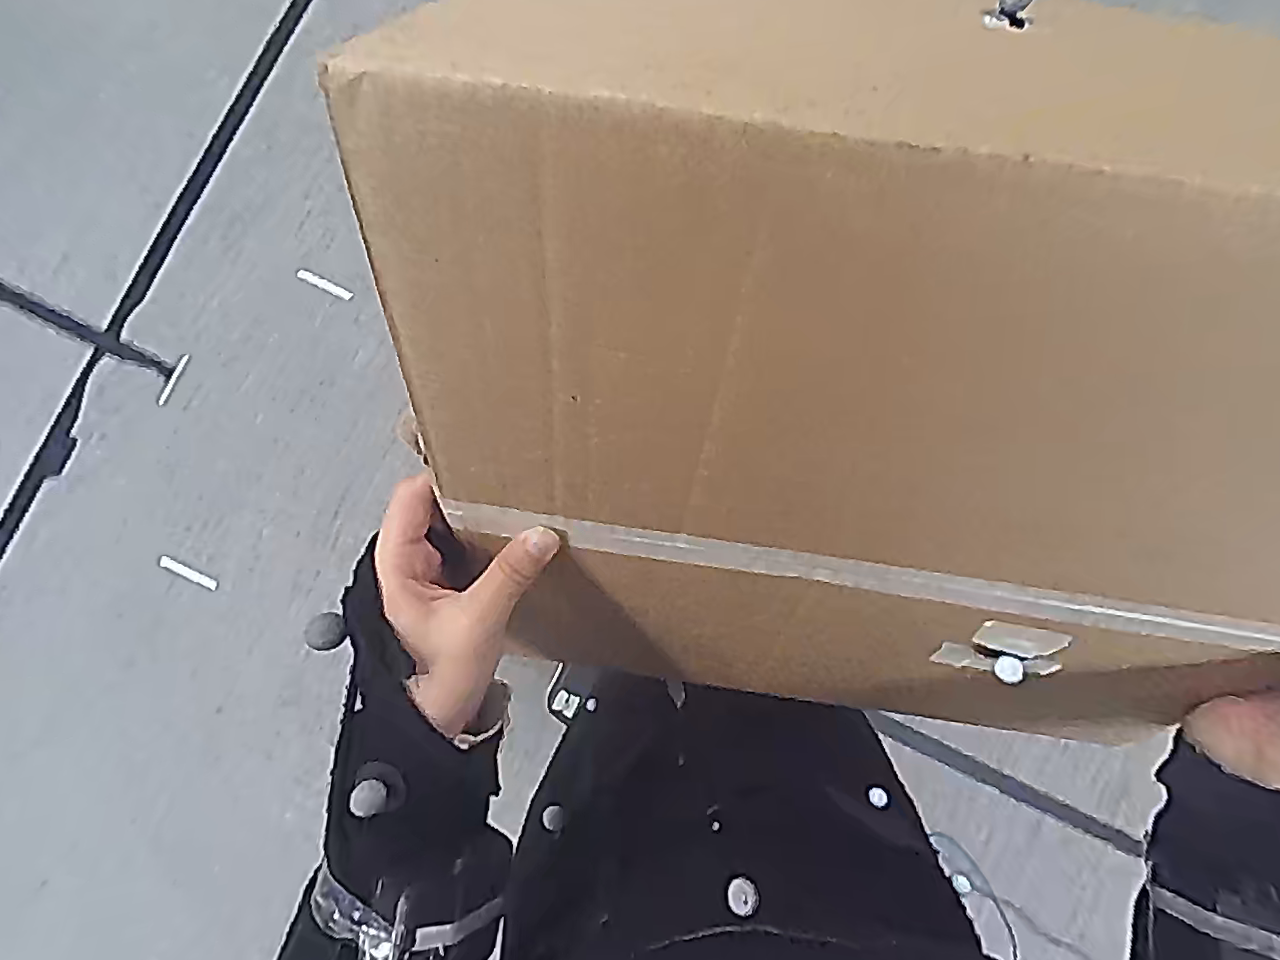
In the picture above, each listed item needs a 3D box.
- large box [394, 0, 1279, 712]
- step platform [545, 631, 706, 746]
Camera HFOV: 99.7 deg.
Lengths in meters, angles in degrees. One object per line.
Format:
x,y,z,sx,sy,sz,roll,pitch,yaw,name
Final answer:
0.144,-0.094,0.322,0.408,0.320,0.320,8,50,0,large box
0.060,0.254,1.283,0.286,0.204,0.684,31,84,0,step platform
